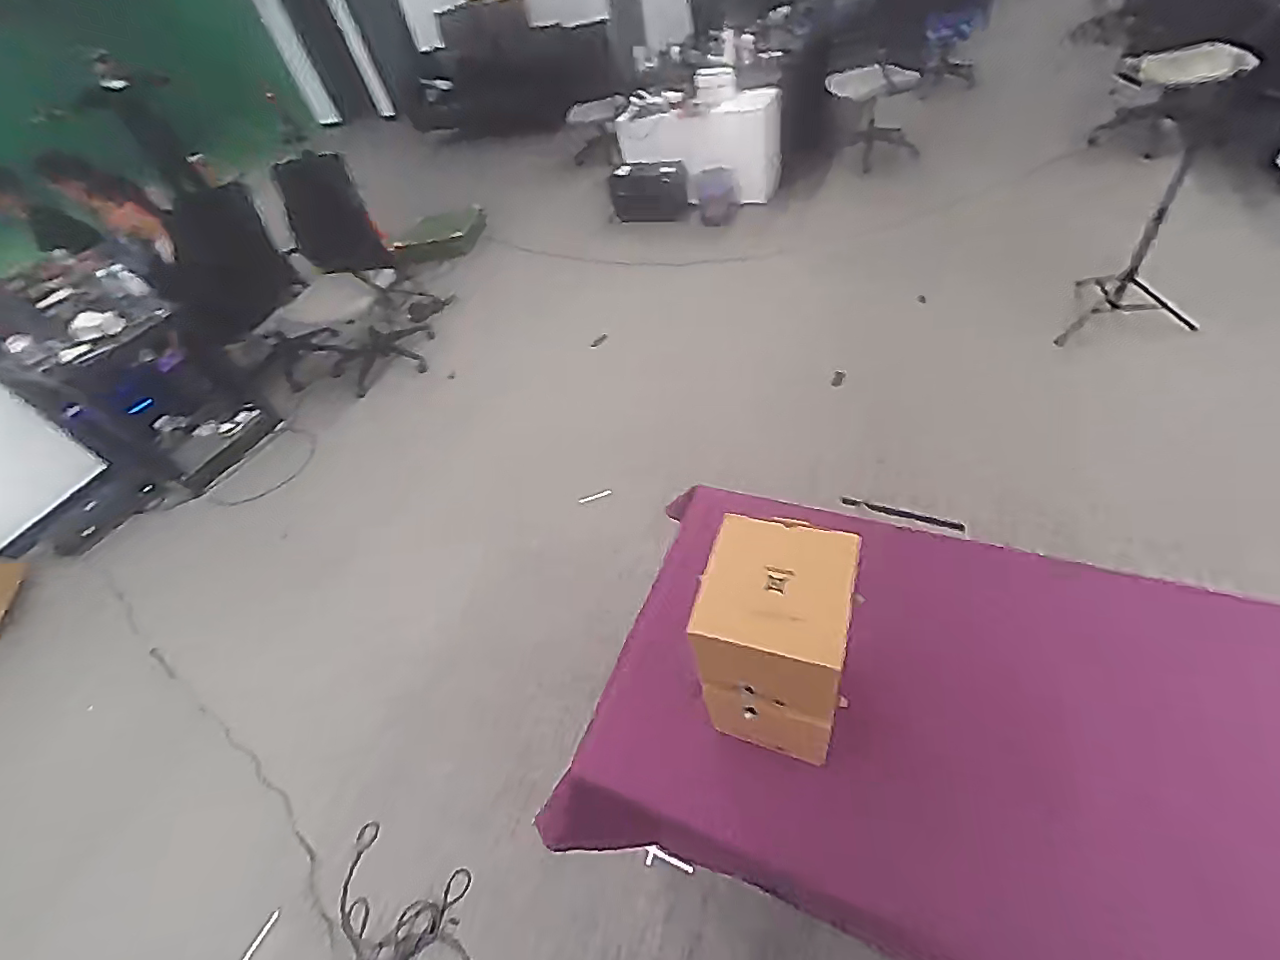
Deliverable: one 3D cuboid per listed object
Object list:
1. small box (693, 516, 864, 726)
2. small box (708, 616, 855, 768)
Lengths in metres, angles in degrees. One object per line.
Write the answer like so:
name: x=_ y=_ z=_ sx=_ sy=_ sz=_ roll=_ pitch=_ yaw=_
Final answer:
small box: x=0.176 y=0.175 z=0.682 sx=0.168 sy=0.176 sz=0.179 roll=10 pitch=51 yaw=22
small box: x=0.208 y=0.287 z=0.797 sx=0.168 sy=0.176 sz=0.179 roll=11 pitch=51 yaw=23
